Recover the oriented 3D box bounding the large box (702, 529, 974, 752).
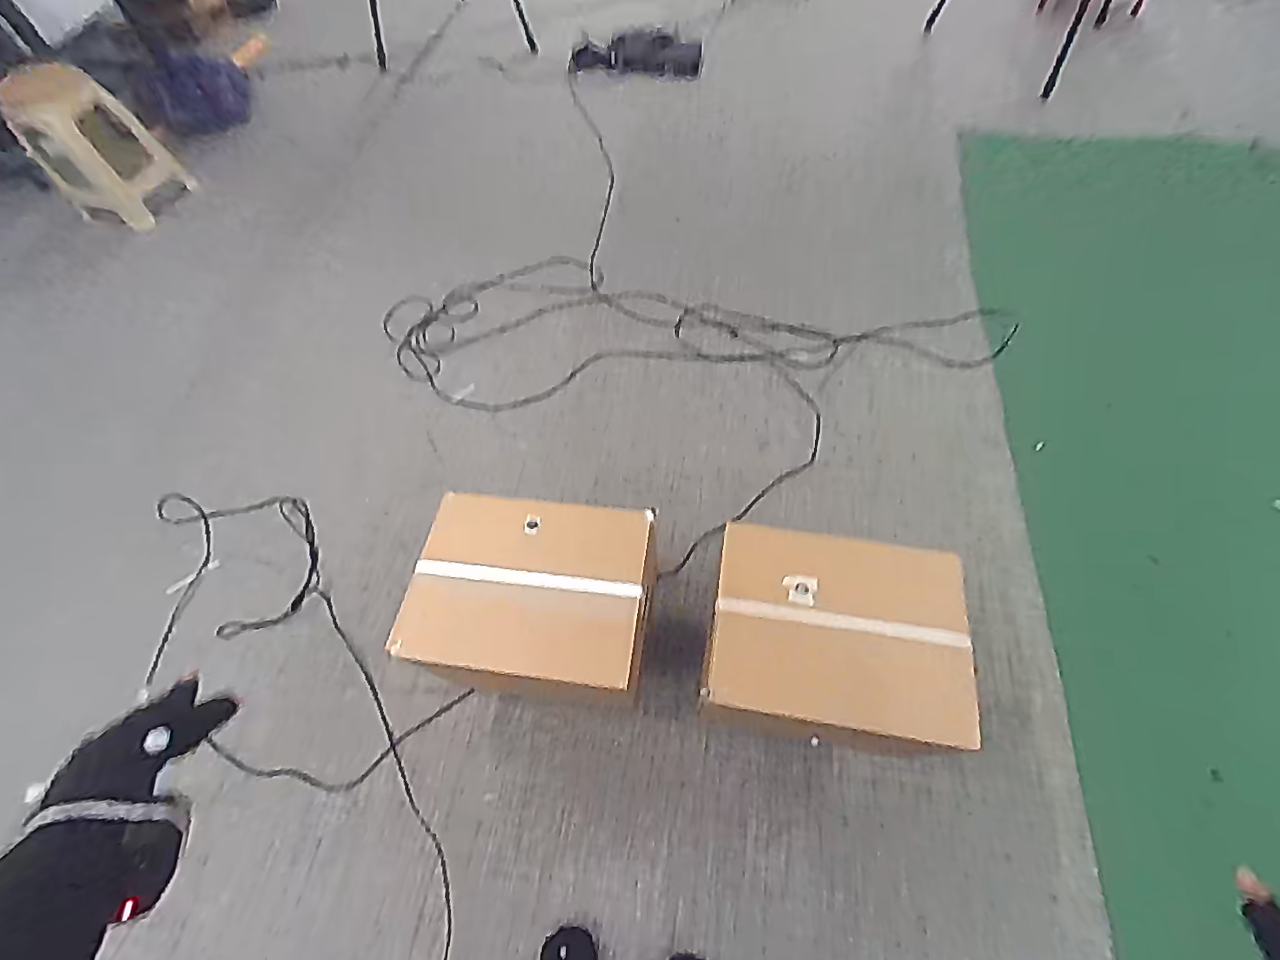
[{"bbox_3d":[0.340,0.316,1.031,0.408,0.320,0.320,8,61,8],"label":"large box"}]
